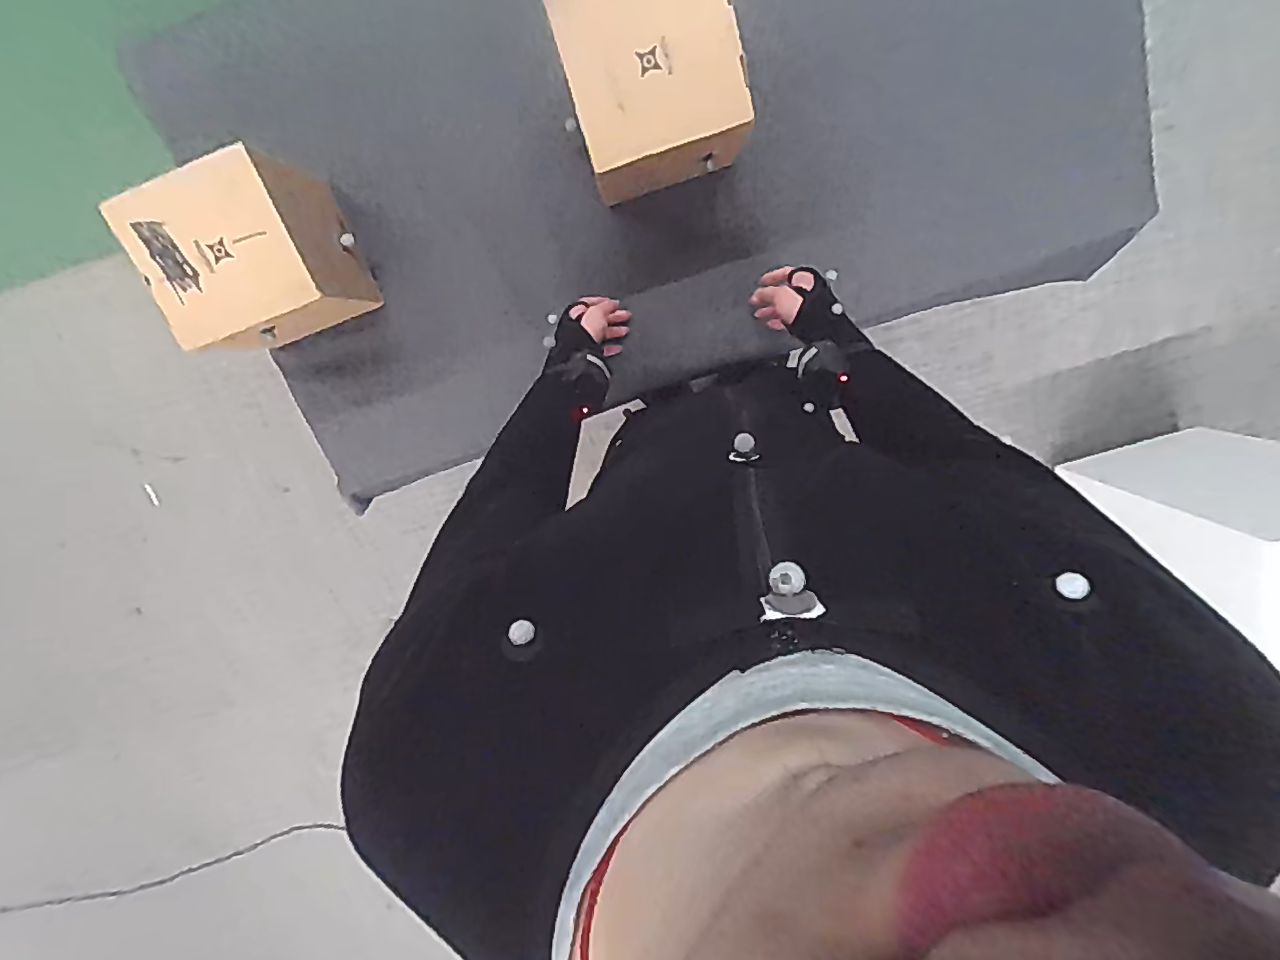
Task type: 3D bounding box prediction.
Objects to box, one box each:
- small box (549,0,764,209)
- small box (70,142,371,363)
[{"bbox_3d":[0.015,-0.427,0.599,0.179,0.176,0.168,-18,104,3],"label":"small box"},{"bbox_3d":[-0.453,-0.243,0.620,0.179,0.176,0.168,-21,106,2],"label":"small box"}]
